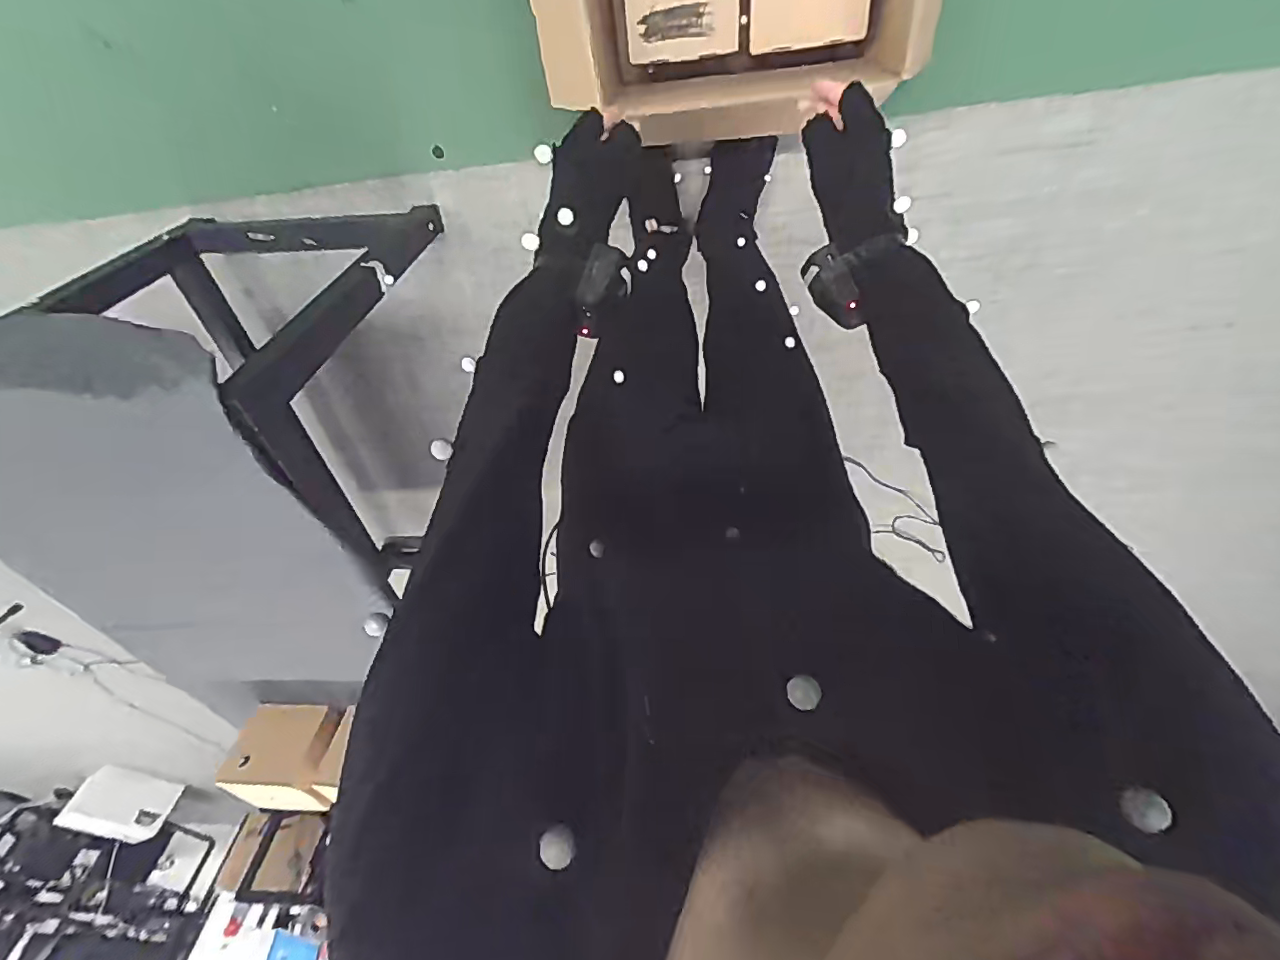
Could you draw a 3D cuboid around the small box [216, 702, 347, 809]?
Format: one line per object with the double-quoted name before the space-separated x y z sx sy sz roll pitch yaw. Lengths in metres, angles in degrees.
"small box" -0.773 0.613 1.208 0.179 0.176 0.168 -1 134 5
